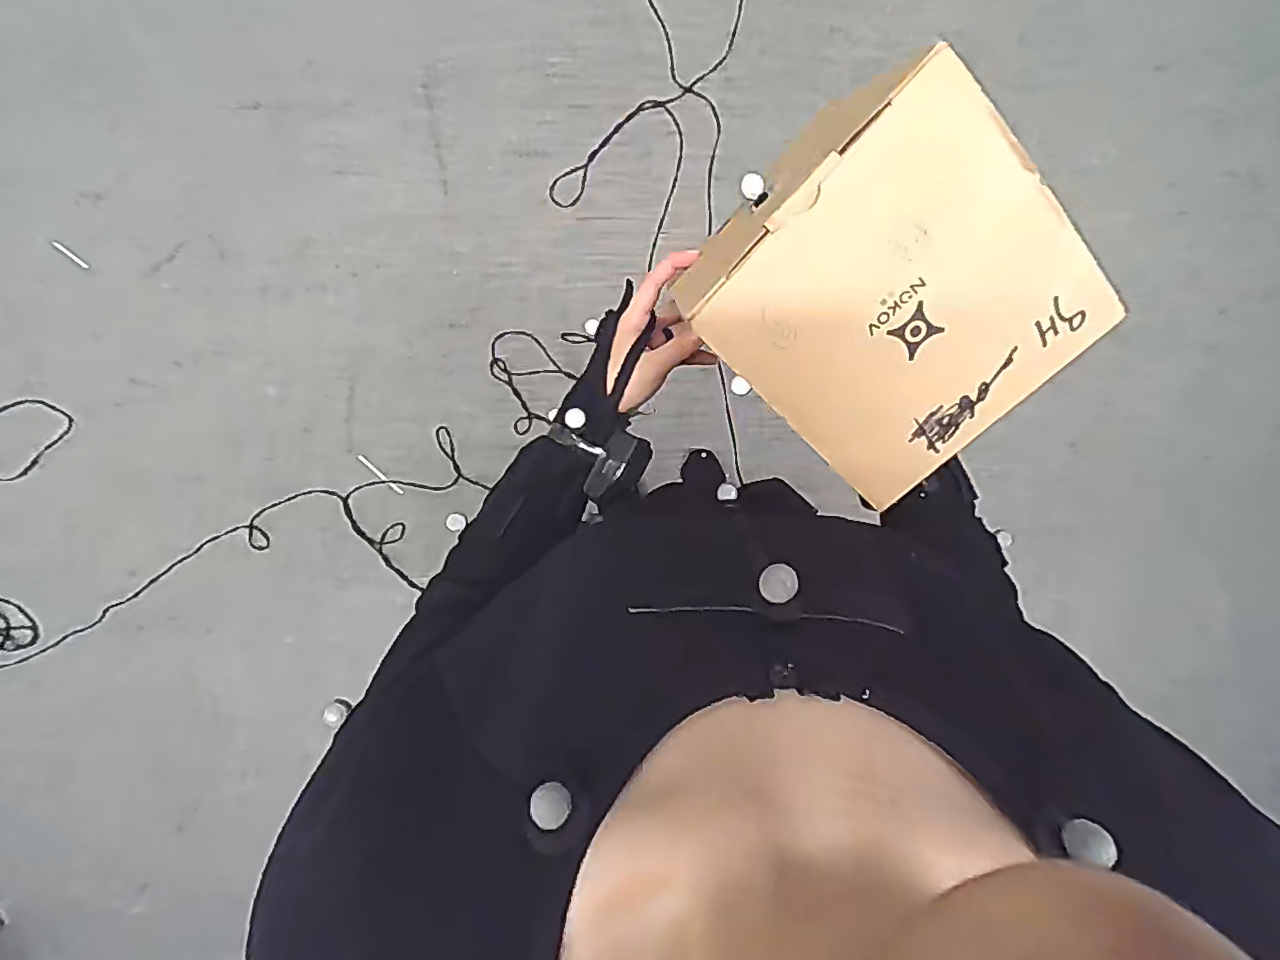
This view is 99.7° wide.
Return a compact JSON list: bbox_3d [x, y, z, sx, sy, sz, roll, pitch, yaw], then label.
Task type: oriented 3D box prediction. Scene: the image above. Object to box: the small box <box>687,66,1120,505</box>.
[{"bbox_3d":[0.149,-0.121,0.372,0.179,0.176,0.168,40,109,-17],"label":"small box"}]
